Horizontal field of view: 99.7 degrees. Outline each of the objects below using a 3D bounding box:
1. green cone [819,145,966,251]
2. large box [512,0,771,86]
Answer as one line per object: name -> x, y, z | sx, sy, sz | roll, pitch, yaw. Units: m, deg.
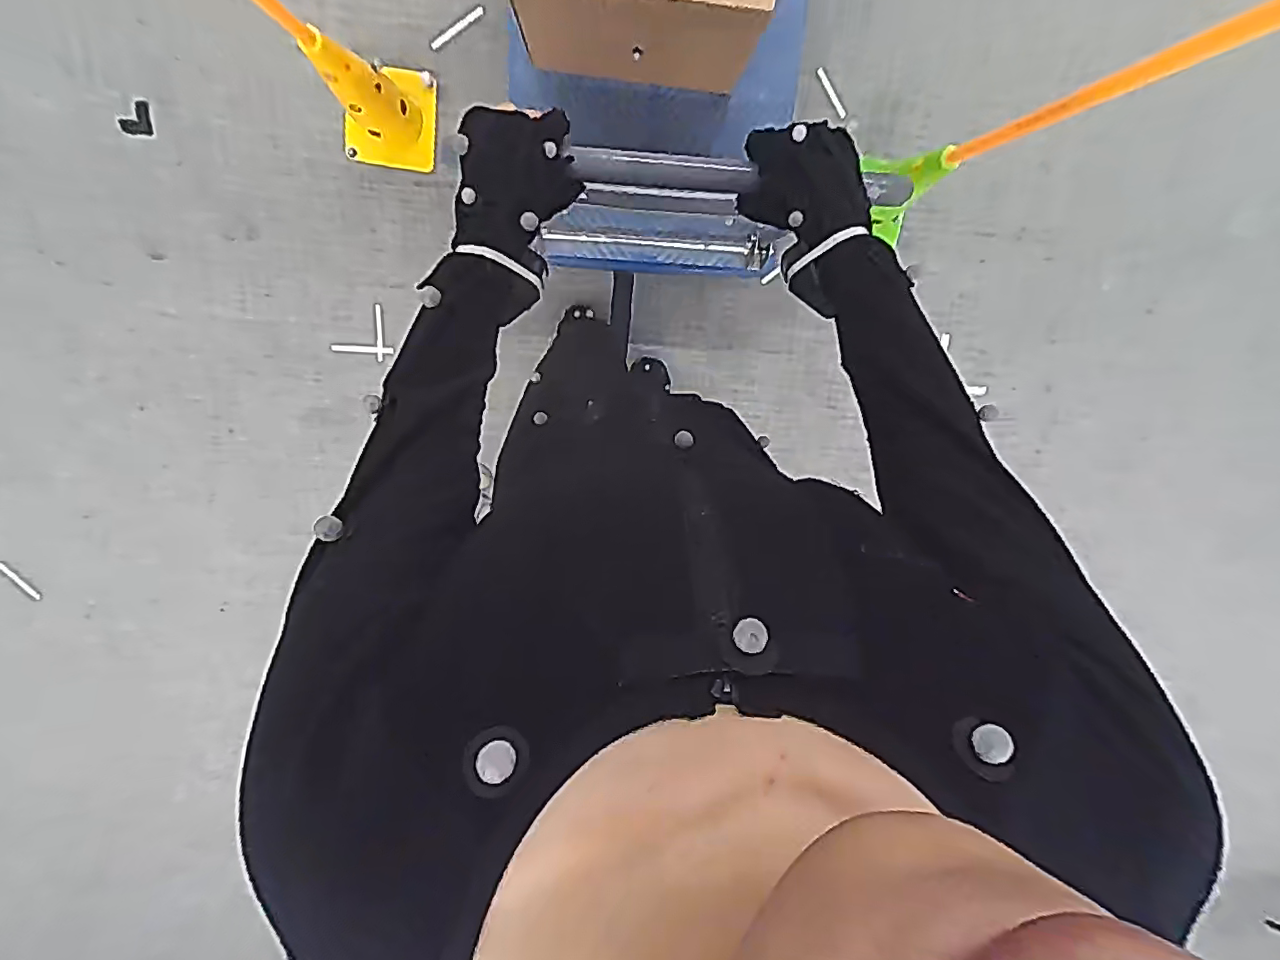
green cone -> 0.559, -0.632, 1.155 | 0.202, 0.368, 0.200 | 8, 105, -6
large box -> 0.007, -0.909, 0.904 | 0.408, 0.320, 0.320 | 5, 106, -3
